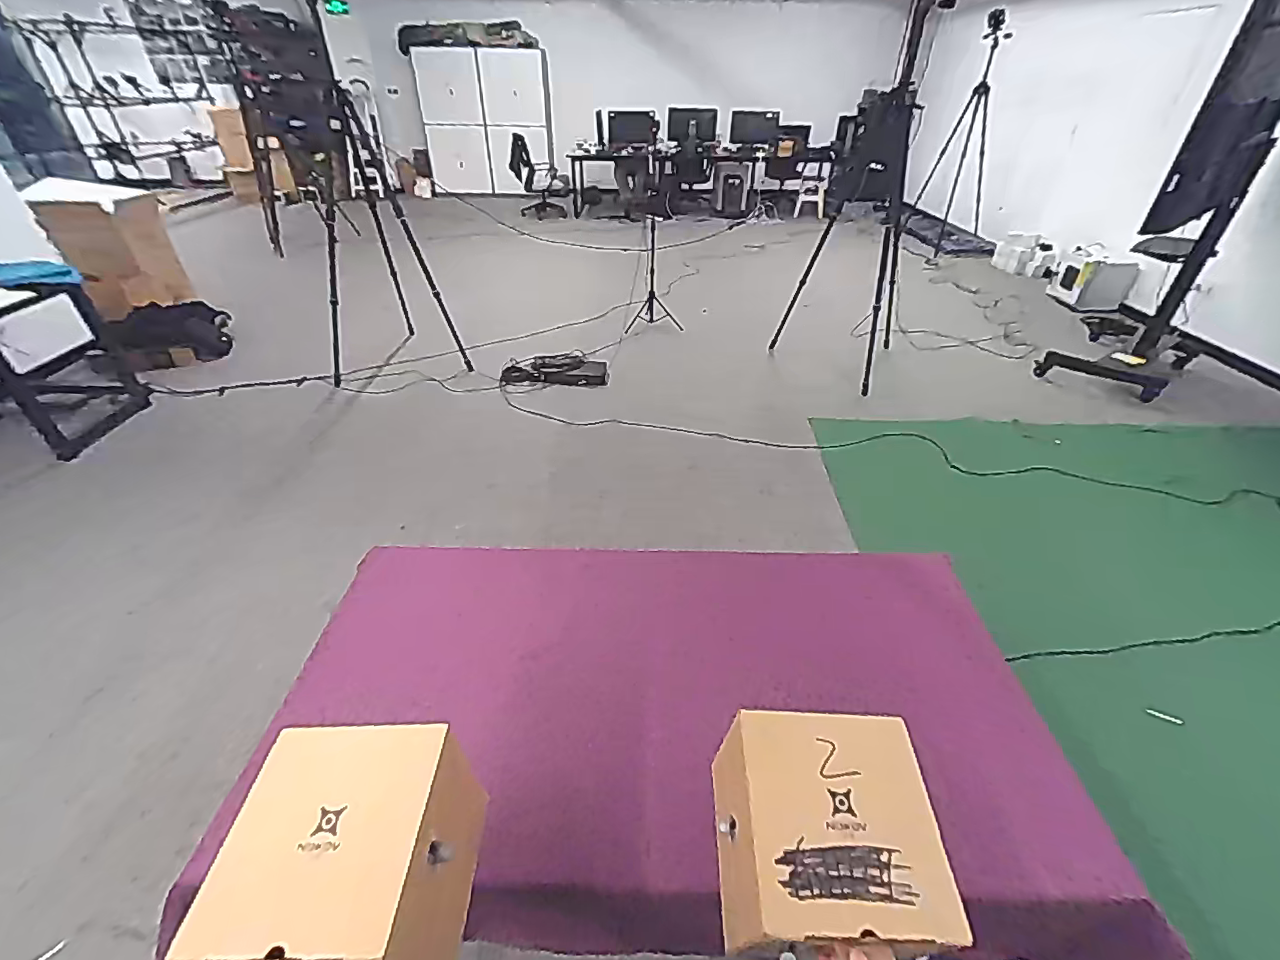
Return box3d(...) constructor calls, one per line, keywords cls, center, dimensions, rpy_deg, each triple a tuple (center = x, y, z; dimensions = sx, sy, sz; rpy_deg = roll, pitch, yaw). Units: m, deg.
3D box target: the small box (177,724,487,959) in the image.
box3d(cls="small box", center=(-0.253, 0.352, 0.504), dimensions=(0.168, 0.176, 0.179), rpy_deg=(-2, 40, 2))
